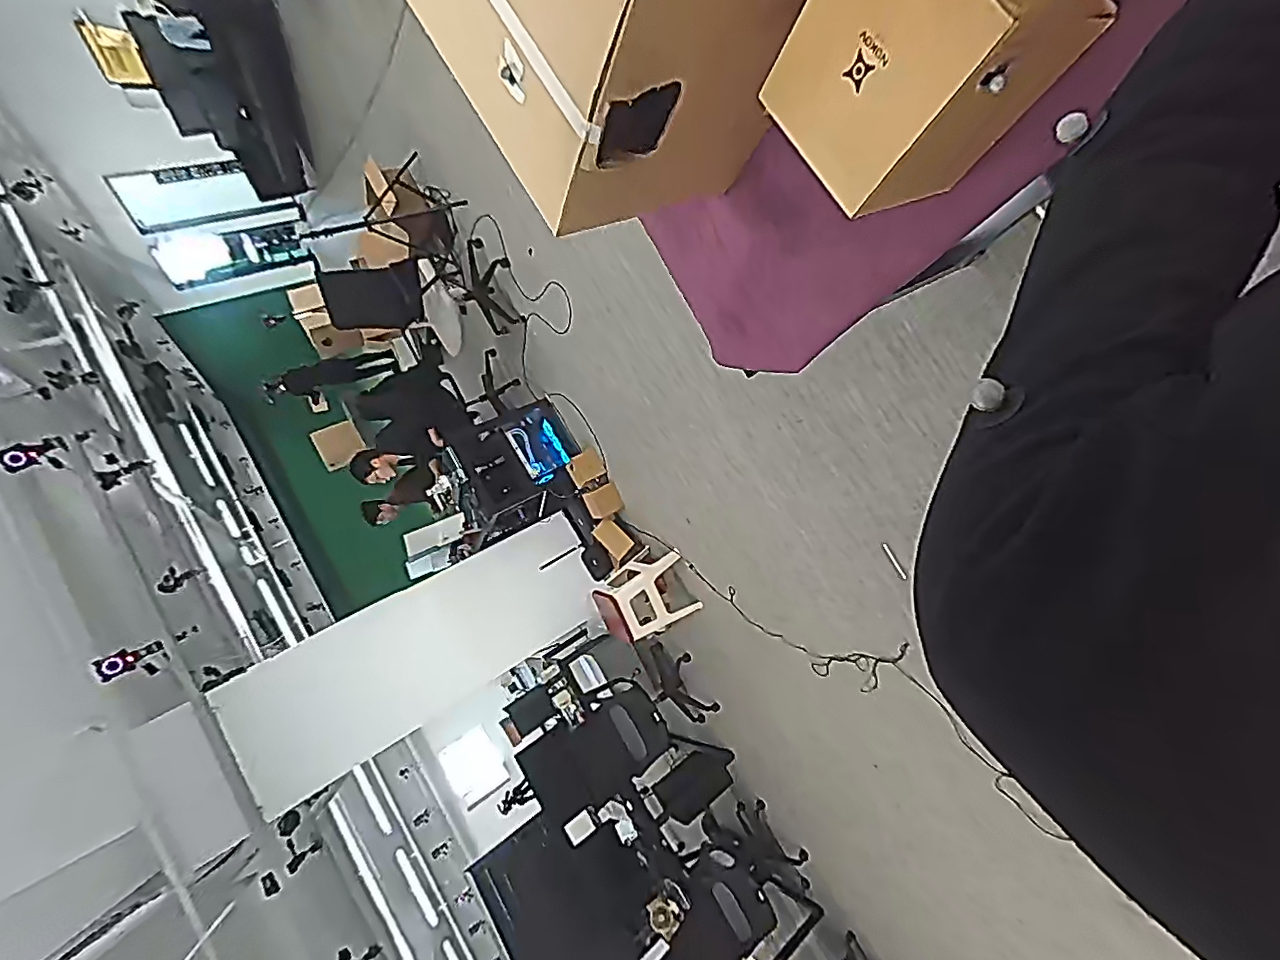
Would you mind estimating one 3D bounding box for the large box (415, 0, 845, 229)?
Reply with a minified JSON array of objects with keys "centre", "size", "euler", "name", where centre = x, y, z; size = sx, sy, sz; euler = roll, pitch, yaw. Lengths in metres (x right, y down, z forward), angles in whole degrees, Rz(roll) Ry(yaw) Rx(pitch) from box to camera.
[{"centre":[-0.029,-0.597,0.644],"size":[0.408,0.320,0.320],"euler":[57,154,5],"name":"large box"}]
